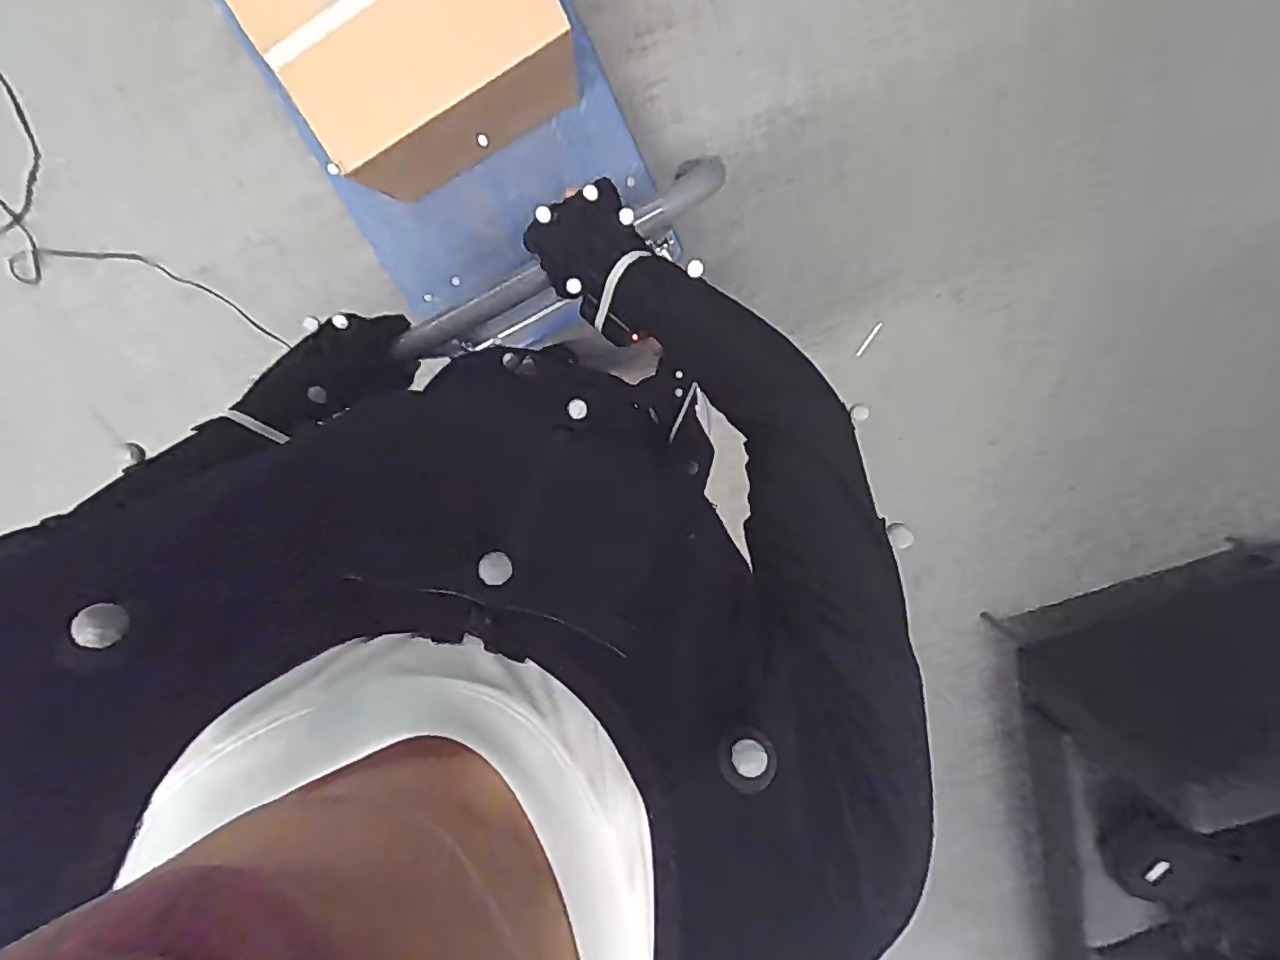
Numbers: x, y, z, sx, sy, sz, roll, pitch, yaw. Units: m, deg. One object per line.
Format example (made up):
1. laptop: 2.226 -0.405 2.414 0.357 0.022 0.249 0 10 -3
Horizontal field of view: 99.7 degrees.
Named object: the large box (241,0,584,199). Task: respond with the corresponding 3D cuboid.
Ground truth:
1. large box: -0.341 -0.733 0.893 0.408 0.320 0.320 -28 109 7
